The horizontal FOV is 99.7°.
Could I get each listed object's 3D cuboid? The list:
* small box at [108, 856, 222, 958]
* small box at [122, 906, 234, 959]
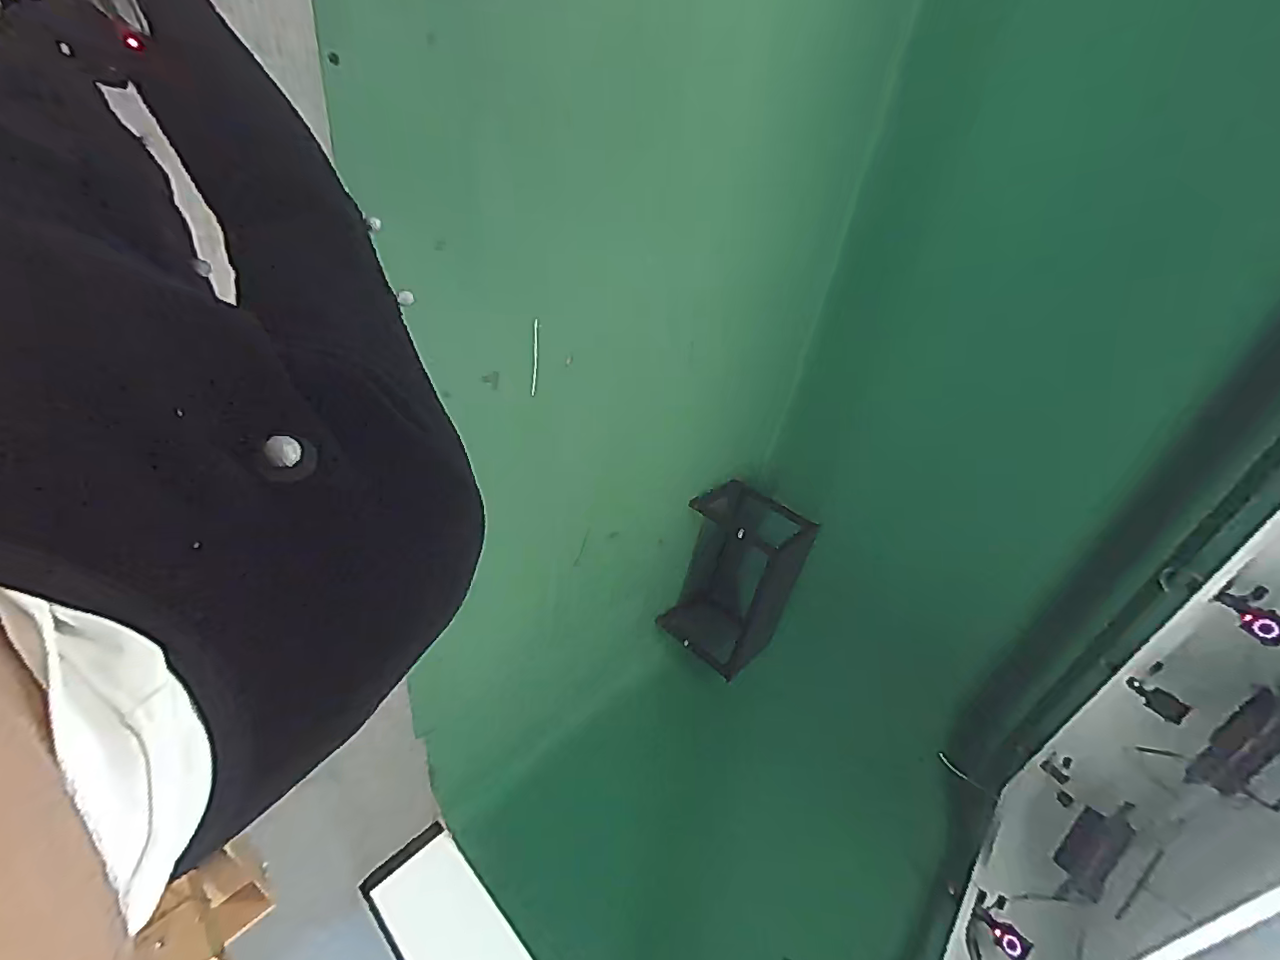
[{"bbox_3d":[-1.258,1.149,1.433,0.168,0.176,0.179,-28,140,-40],"label":"small box"},{"bbox_3d":[-1.136,1.218,1.344,0.168,0.176,0.179,-30,140,-40],"label":"small box"}]
